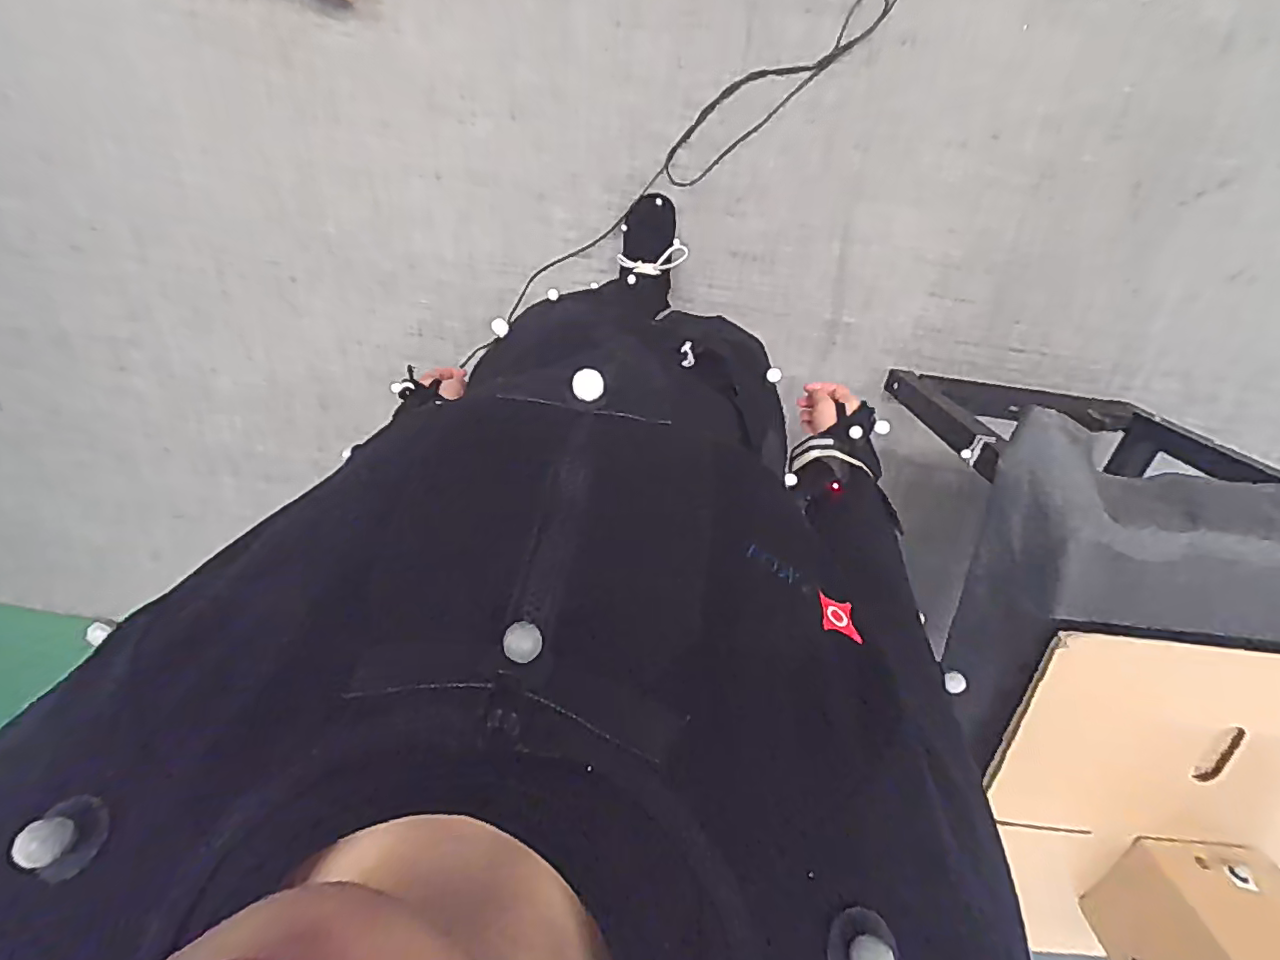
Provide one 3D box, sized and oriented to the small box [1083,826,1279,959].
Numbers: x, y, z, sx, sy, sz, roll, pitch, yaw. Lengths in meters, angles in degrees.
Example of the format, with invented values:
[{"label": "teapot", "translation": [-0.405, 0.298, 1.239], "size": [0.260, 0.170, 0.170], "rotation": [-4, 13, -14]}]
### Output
[{"label": "small box", "translation": [0.717, 0.575, 0.680], "size": [0.168, 0.176, 0.179], "rotation": [4, 118, -2]}]
